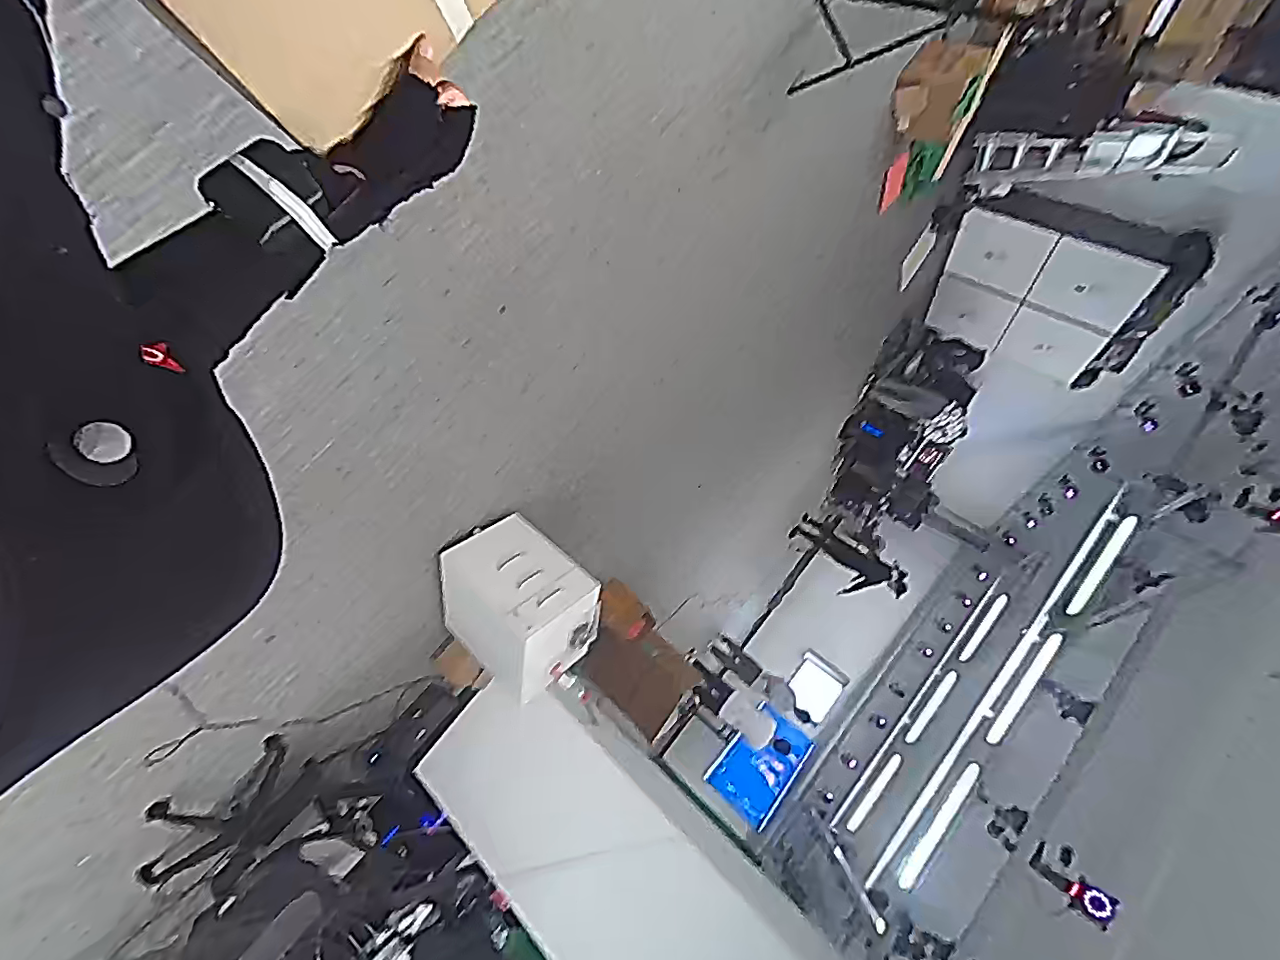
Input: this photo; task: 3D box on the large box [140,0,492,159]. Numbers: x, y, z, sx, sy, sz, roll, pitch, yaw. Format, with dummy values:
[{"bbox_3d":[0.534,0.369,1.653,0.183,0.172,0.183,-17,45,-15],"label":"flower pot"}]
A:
[{"bbox_3d":[-0.309,-0.517,0.322,0.320,0.320,0.408,-46,157,-2],"label":"large box"}]
